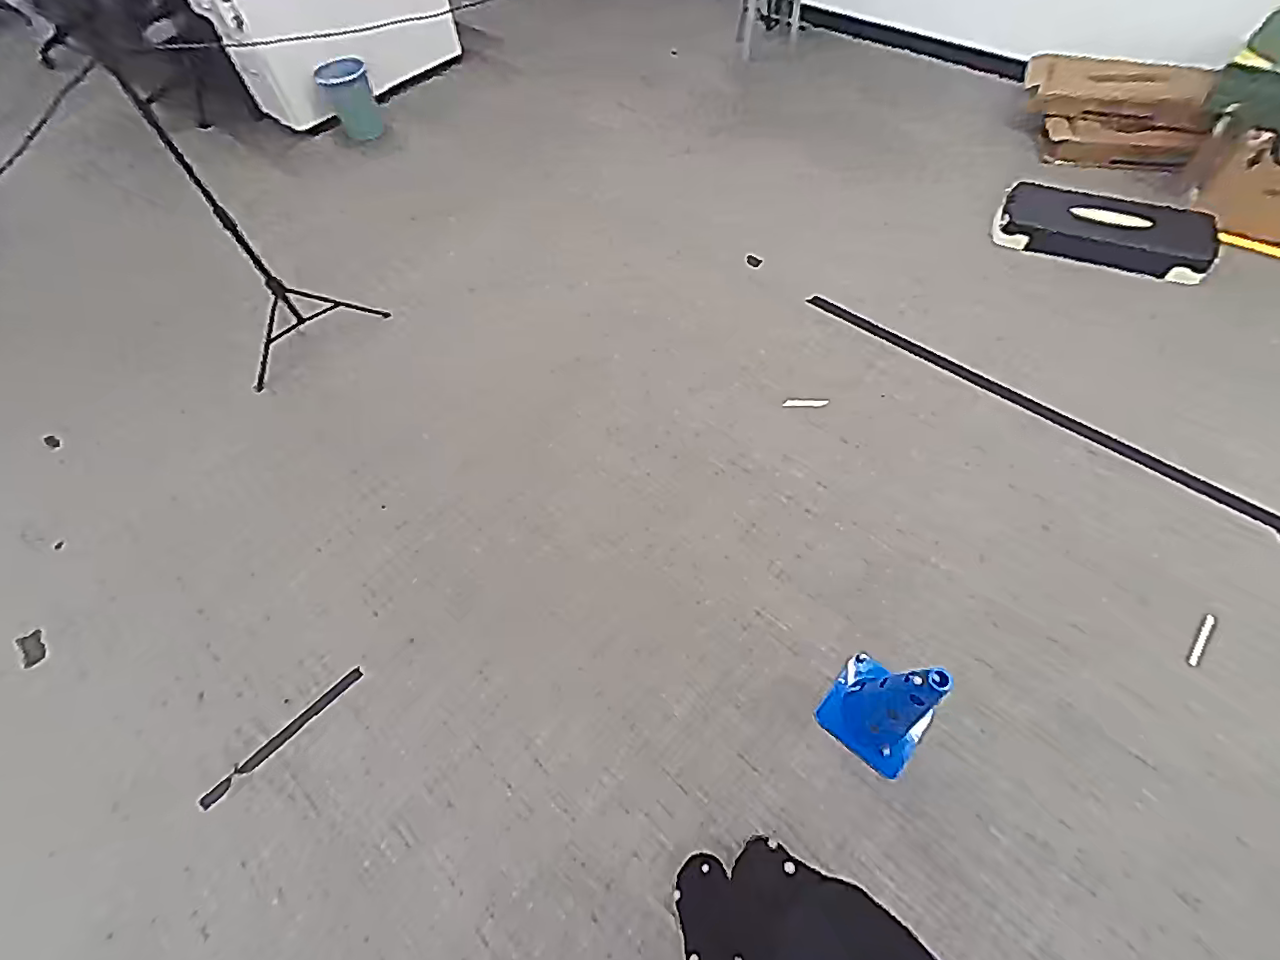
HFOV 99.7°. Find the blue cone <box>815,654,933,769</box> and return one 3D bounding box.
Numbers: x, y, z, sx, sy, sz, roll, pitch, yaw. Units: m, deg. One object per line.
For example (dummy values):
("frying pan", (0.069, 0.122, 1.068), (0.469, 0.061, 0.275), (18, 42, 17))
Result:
("blue cone", (0.499, 0.424, 1.066), (0.192, 0.380, 0.193), (37, 67, 24))
